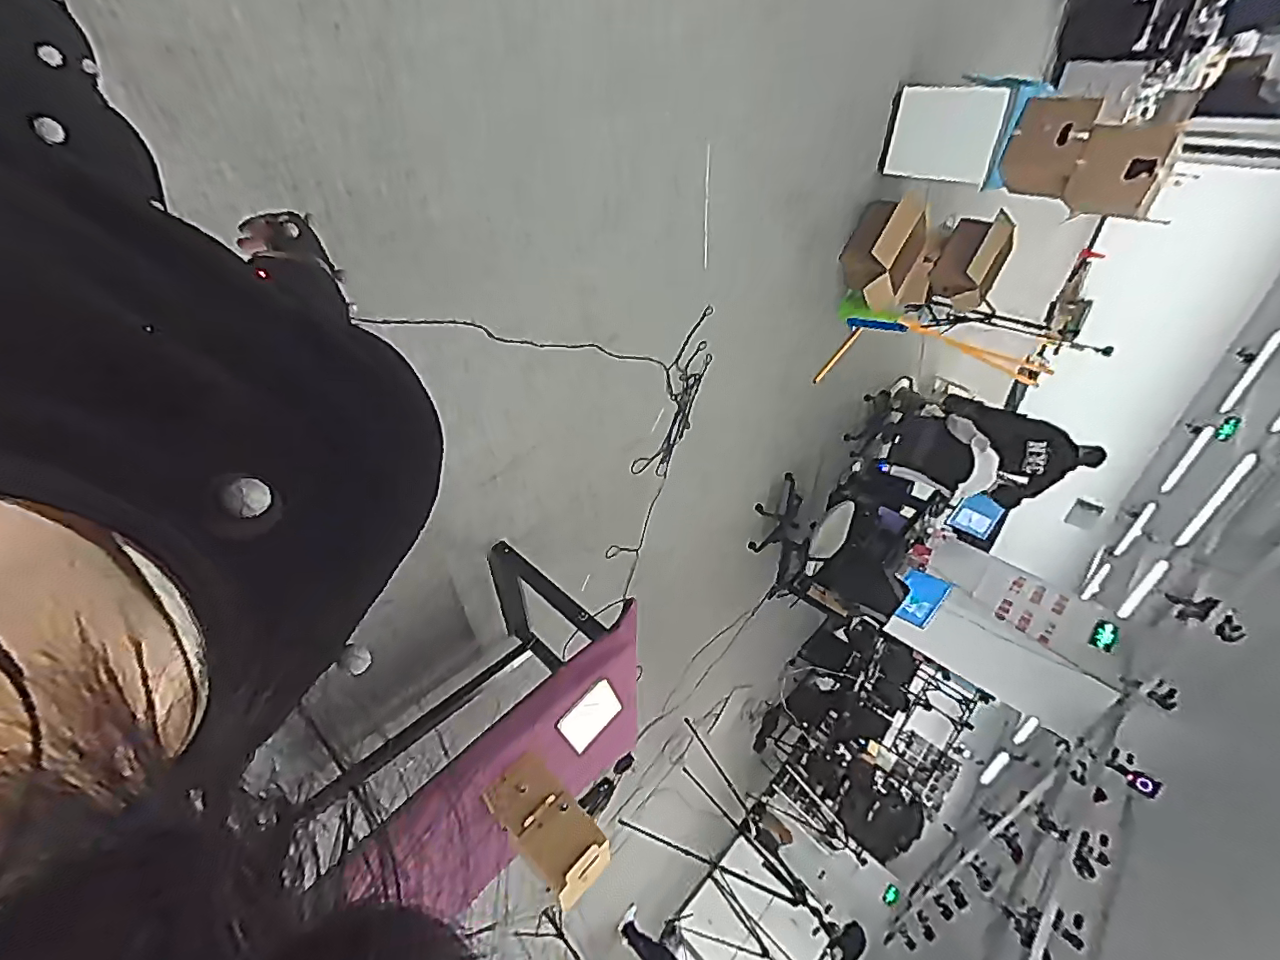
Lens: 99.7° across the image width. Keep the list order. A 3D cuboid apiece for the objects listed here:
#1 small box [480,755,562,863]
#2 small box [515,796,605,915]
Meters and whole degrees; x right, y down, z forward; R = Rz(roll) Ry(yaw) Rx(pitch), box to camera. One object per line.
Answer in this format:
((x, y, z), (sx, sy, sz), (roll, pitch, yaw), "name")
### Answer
((-0.328, 0.911, 1.516), (0.168, 0.176, 0.179), (-31, 136, -34), "small box")
((-0.210, 0.976, 1.420), (0.168, 0.176, 0.179), (-32, 138, -35), "small box")
